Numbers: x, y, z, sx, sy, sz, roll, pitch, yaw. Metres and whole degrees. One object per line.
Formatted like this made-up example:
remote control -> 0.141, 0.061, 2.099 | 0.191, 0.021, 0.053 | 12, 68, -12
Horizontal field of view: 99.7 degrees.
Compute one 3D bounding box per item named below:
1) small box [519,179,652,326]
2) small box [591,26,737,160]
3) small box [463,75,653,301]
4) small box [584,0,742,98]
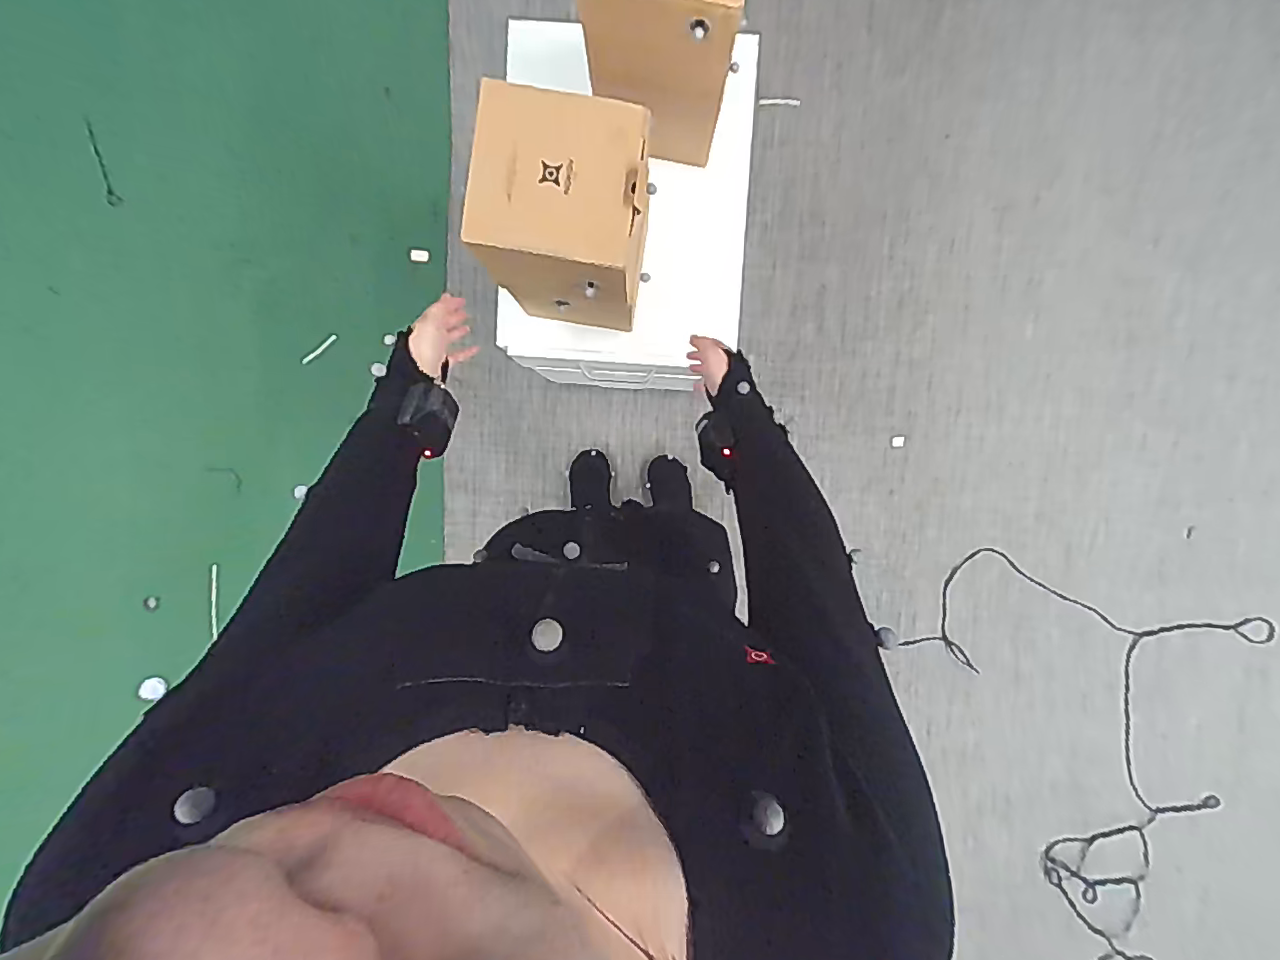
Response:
small box -> -0.083, -0.334, 0.792 | 0.179, 0.176, 0.168 | 9, 94, -2
small box -> 0.037, -0.591, 0.773 | 0.179, 0.176, 0.168 | 11, 95, -1
small box -> -0.085, -0.320, 0.630 | 0.179, 0.176, 0.168 | 9, 93, 0
small box -> 0.032, -0.574, 0.611 | 0.179, 0.176, 0.168 | 10, 95, -2
